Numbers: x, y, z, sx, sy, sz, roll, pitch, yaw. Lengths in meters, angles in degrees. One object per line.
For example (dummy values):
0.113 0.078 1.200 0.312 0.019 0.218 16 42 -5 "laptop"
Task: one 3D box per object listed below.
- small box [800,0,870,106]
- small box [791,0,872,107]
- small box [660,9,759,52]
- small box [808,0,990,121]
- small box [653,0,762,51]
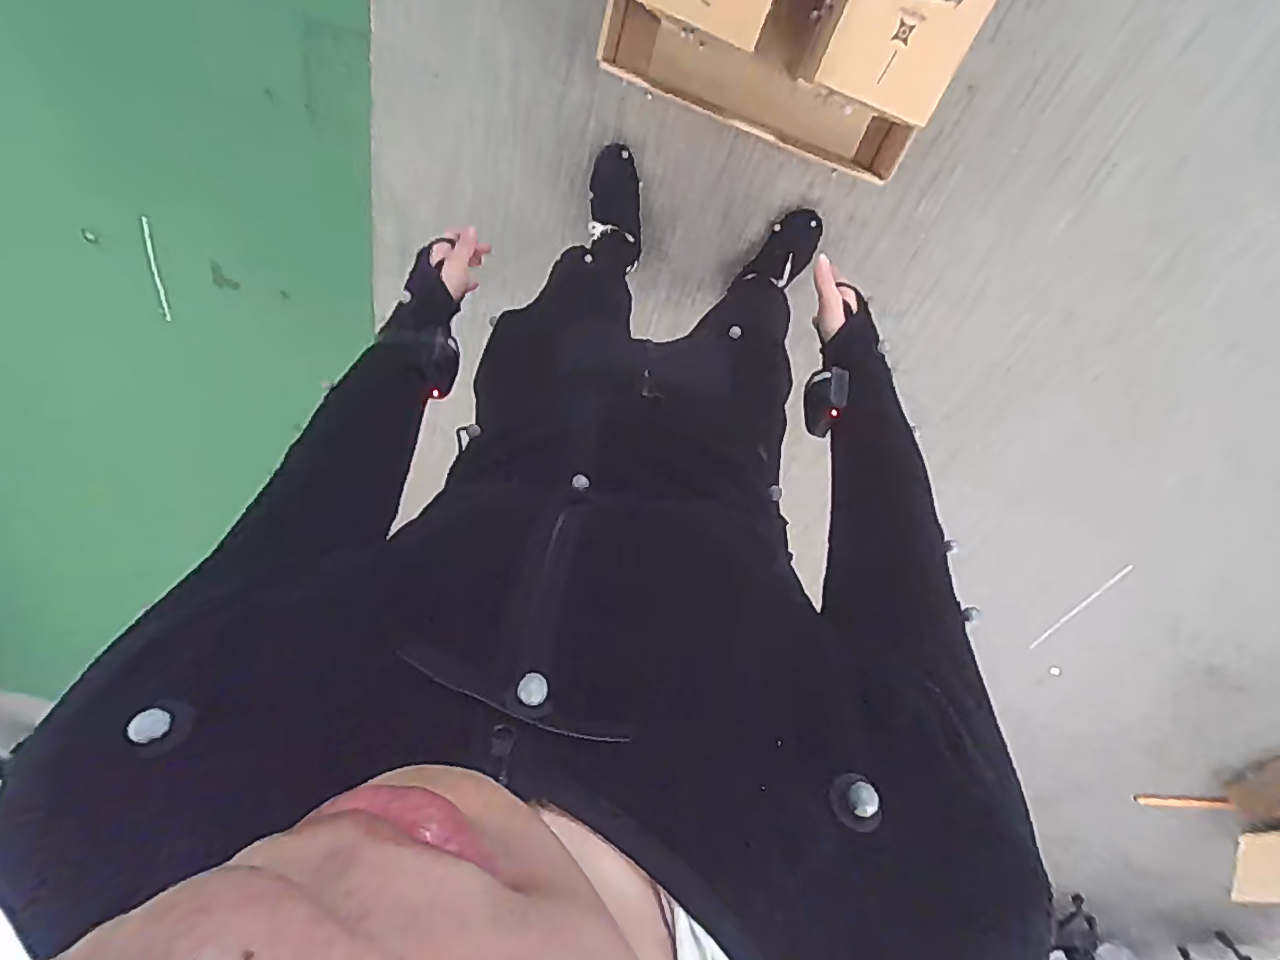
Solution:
0.371 -0.726 0.865 0.168 0.176 0.179 21 127 -5 "small box"
0.391 -0.821 0.997 0.168 0.176 0.179 18 127 -5 "small box"
0.143 -0.901 0.968 0.168 0.176 0.179 16 128 -7 "small box"
0.345 -0.625 0.738 0.168 0.176 0.179 20 128 -5 "small box"
0.123 -0.805 0.836 0.168 0.176 0.179 22 126 -8 "small box"
